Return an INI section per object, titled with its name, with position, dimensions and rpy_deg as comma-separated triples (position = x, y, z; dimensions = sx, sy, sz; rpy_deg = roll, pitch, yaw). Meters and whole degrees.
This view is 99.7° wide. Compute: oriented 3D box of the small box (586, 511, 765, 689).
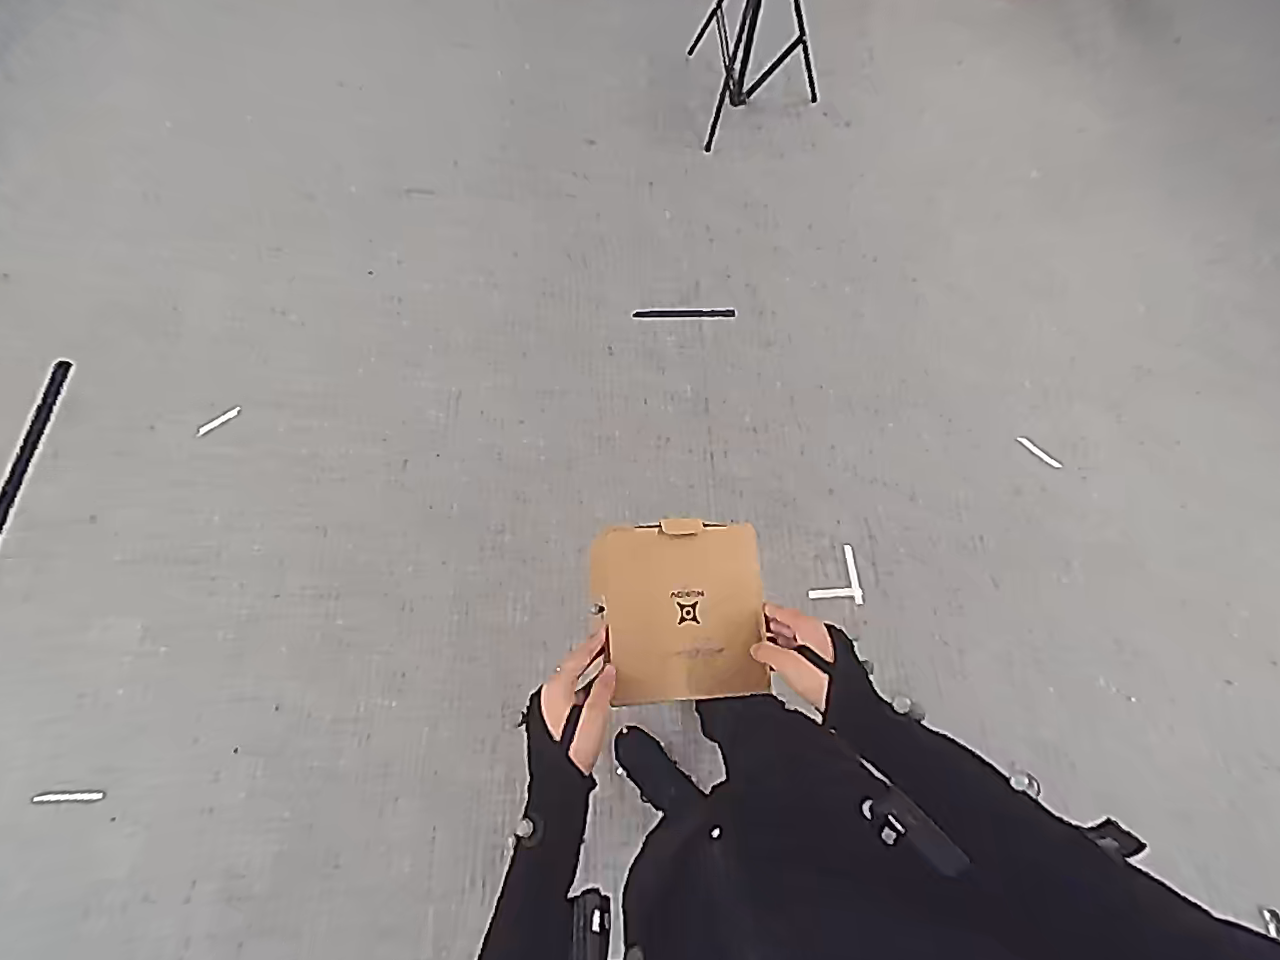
[small box]
position = 0.027, 0.139, 0.626
dimensions = 0.168, 0.176, 0.179
rpy_deg = 0, 74, -11
